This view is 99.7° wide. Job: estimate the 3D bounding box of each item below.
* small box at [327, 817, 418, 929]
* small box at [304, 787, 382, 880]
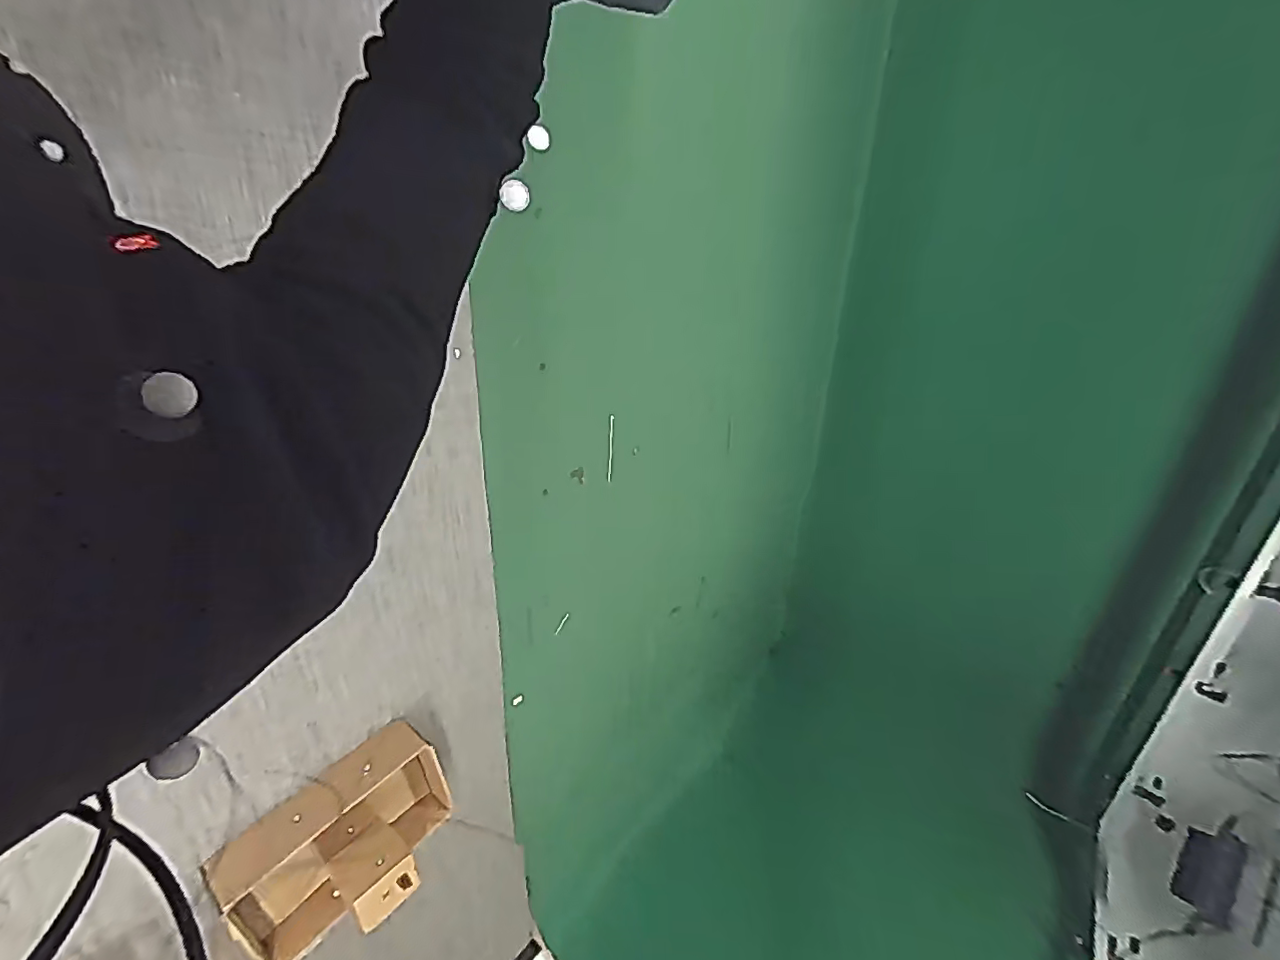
[{"bbox_3d":[-0.800,1.166,1.621,0.179,0.176,0.168,-28,127,-44],"label":"small box"},{"bbox_3d":[-0.927,1.130,1.720,0.179,0.176,0.168,-30,129,-42],"label":"small box"}]
